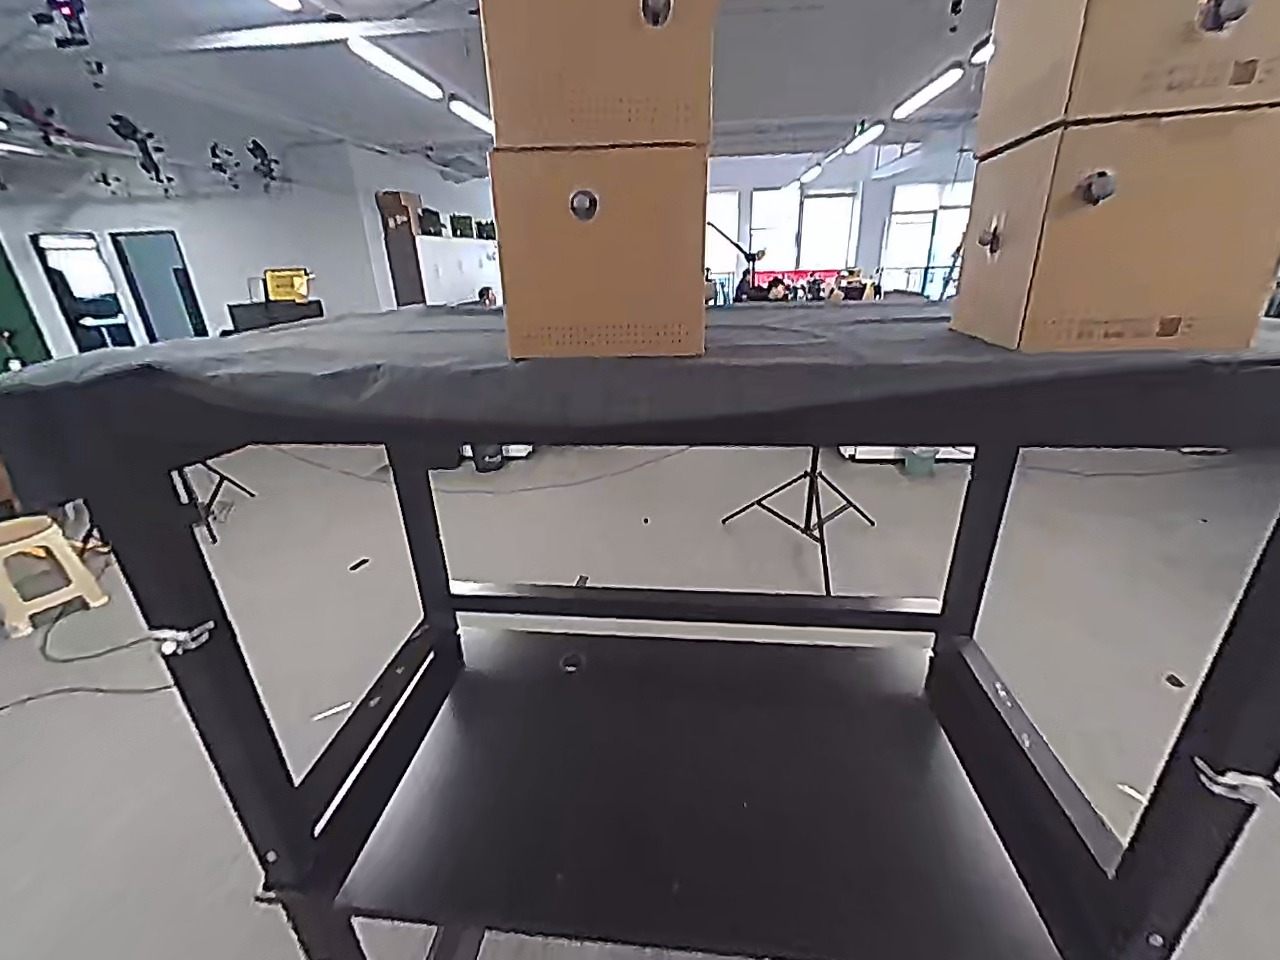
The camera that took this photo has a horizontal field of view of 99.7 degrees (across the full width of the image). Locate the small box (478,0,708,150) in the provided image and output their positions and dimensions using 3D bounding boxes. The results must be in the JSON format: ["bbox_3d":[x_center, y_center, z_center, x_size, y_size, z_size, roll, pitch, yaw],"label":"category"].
[{"bbox_3d":[-0.035,-0.368,0.480,0.179,0.176,0.168,-3,20,-1],"label":"small box"}]

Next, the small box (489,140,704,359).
[{"bbox_3d":[-0.029,-0.213,0.529,0.179,0.176,0.168,0,21,3],"label":"small box"}]

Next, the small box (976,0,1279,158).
[{"bbox_3d":[0.394,-0.366,0.426,0.168,0.176,0.179,1,22,11],"label":"small box"}]
